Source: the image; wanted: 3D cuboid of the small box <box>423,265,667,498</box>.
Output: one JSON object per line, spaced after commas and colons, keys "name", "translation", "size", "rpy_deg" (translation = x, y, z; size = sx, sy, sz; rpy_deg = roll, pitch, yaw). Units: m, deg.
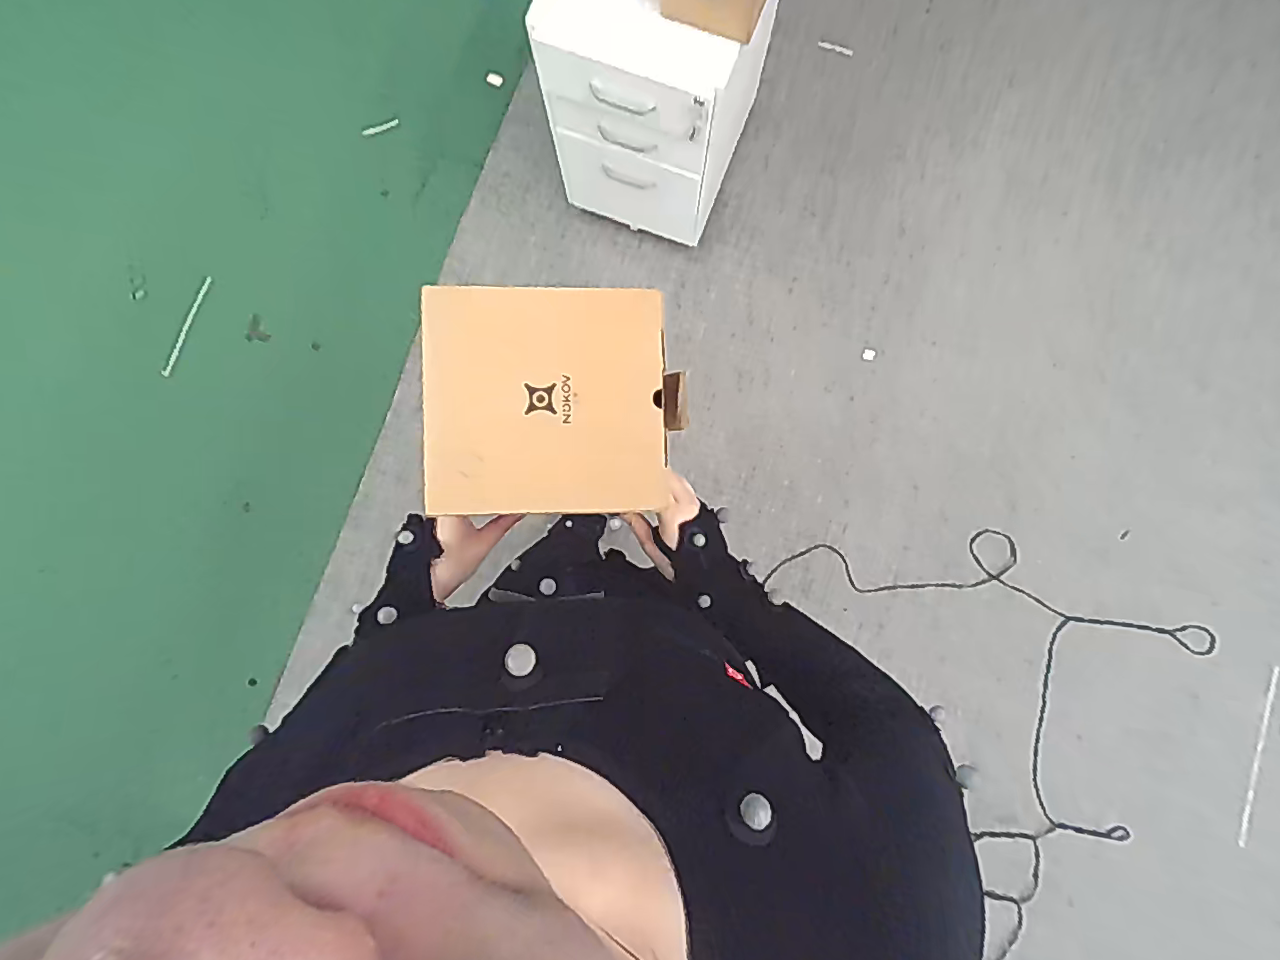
{"name": "small box", "translation": [-0.075, -0.069, 0.470], "size": [0.179, 0.176, 0.168], "rpy_deg": [-1, 88, -7]}
